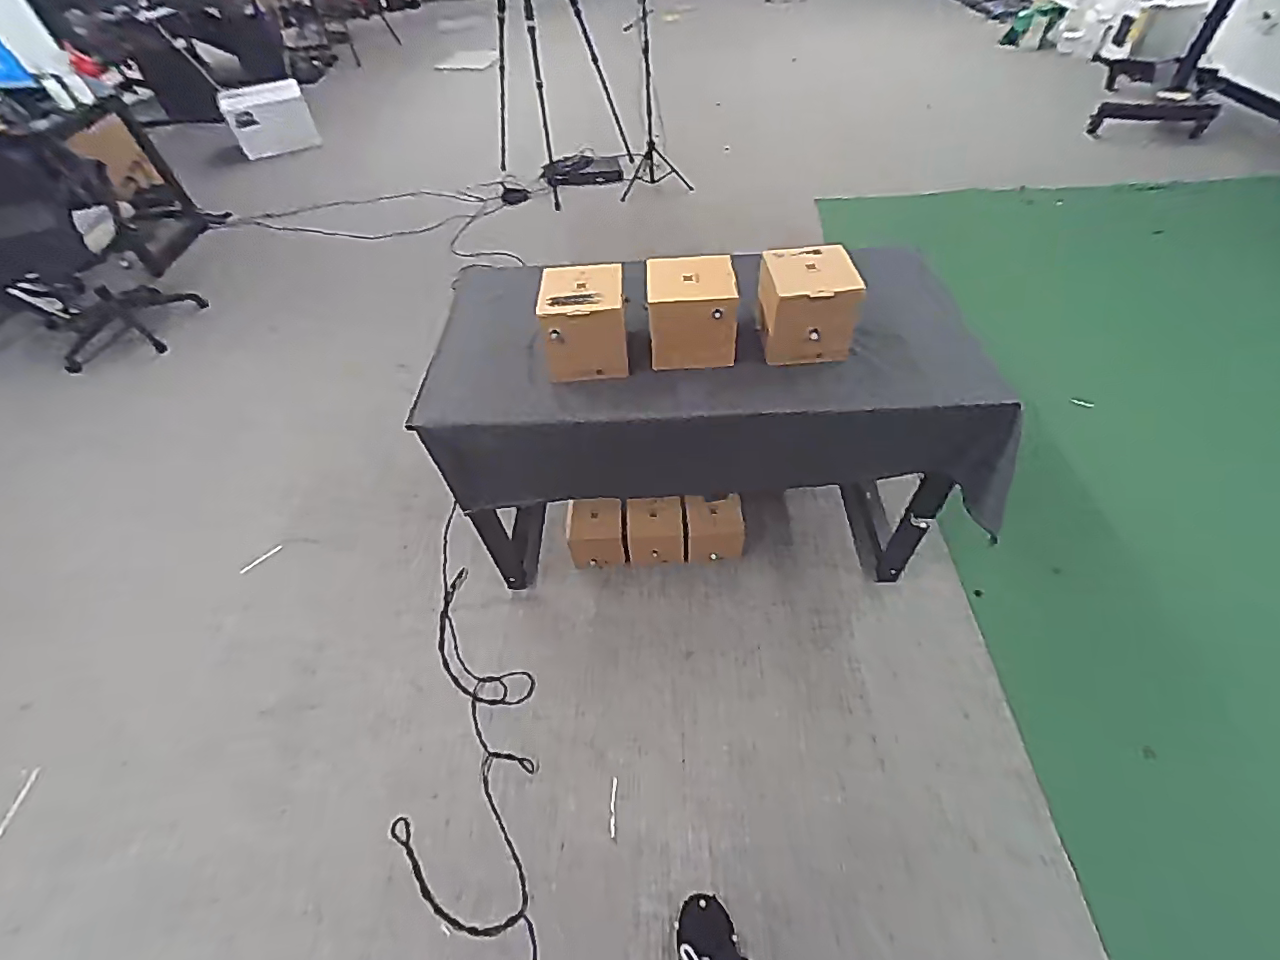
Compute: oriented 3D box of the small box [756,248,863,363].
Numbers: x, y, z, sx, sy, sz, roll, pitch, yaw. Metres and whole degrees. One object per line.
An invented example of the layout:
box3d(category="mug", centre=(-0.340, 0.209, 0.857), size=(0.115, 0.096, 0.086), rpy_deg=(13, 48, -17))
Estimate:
box3d(category="small box", centre=(0.344, -0.357, 1.131), size=(0.168, 0.176, 0.179), rpy_deg=(-3, 51, 1))
